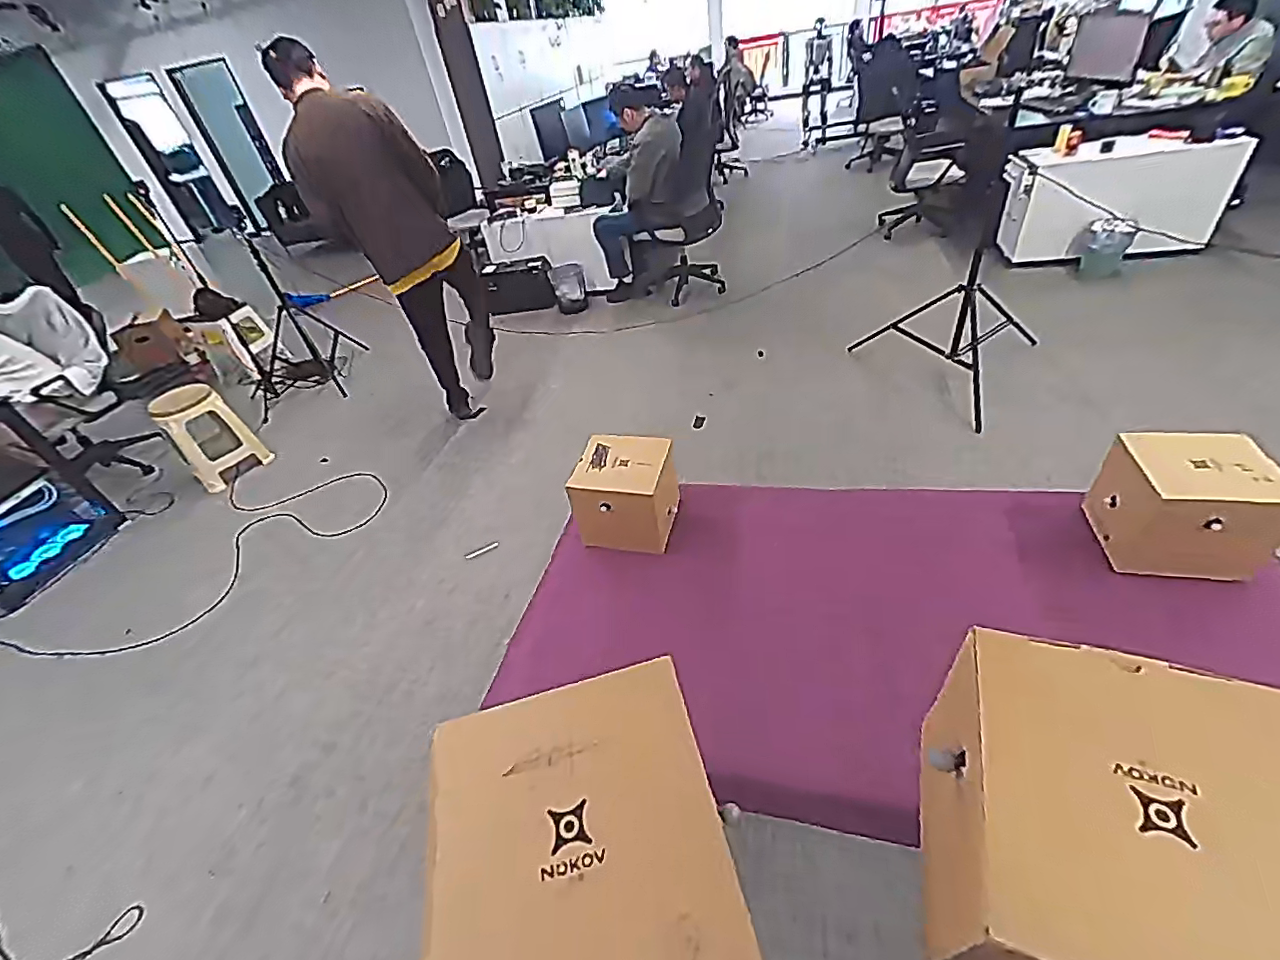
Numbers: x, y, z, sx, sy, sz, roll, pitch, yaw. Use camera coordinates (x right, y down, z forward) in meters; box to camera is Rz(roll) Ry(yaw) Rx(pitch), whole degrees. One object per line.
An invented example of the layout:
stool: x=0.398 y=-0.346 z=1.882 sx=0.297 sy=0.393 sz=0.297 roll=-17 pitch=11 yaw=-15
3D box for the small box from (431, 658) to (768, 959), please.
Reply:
small box: x=-0.022 y=0.256 z=0.357 sx=0.168 sy=0.176 sz=0.179 roll=-15 pitch=42 yaw=-5

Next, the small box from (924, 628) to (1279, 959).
small box: x=0.284 y=0.227 z=0.336 sx=0.168 sy=0.176 sz=0.179 roll=8 pitch=46 yaw=21

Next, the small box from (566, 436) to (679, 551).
small box: x=-0.027 y=0.028 z=1.103 sx=0.179 sy=0.176 sz=0.168 roll=5 pitch=44 yaw=16

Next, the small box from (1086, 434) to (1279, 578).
small box: x=0.867 y=0.042 z=0.875 sx=0.179 sy=0.176 sz=0.168 roll=3 pitch=42 yaw=15
